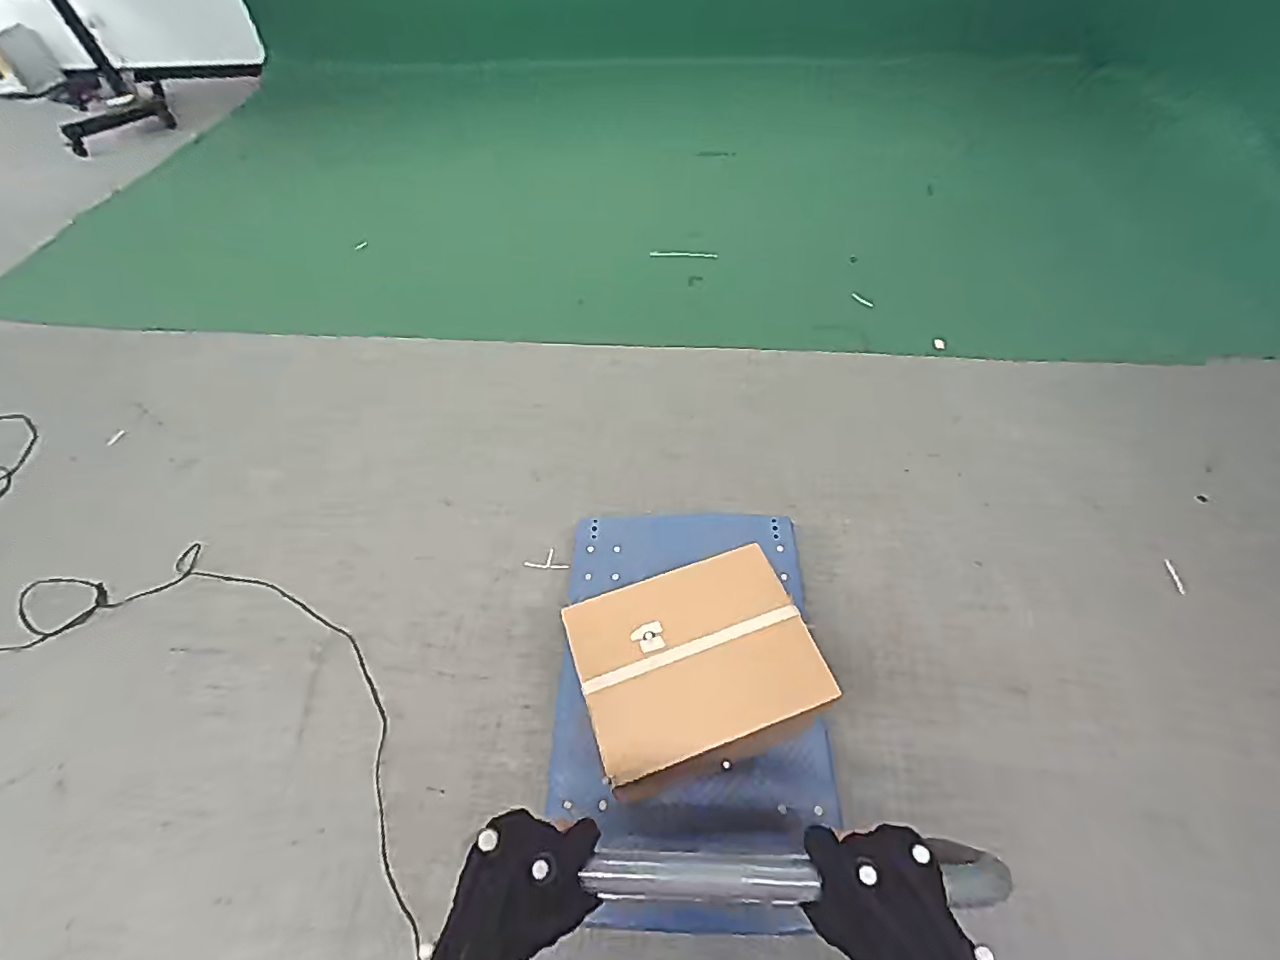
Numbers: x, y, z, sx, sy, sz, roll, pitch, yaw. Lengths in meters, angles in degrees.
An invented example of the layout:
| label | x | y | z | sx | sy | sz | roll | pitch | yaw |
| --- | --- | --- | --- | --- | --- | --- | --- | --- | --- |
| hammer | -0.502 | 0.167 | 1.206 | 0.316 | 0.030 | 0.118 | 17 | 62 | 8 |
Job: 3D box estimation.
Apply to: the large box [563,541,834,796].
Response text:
| label | x | y | z | sx | sy | sz | roll | pitch | yaw |
| --- | --- | --- | --- | --- | --- | --- | --- | --- | --- |
| large box | 0.100 | 0.378 | 1.074 | 0.408 | 0.320 | 0.320 | -18 | 55 | -9 |
